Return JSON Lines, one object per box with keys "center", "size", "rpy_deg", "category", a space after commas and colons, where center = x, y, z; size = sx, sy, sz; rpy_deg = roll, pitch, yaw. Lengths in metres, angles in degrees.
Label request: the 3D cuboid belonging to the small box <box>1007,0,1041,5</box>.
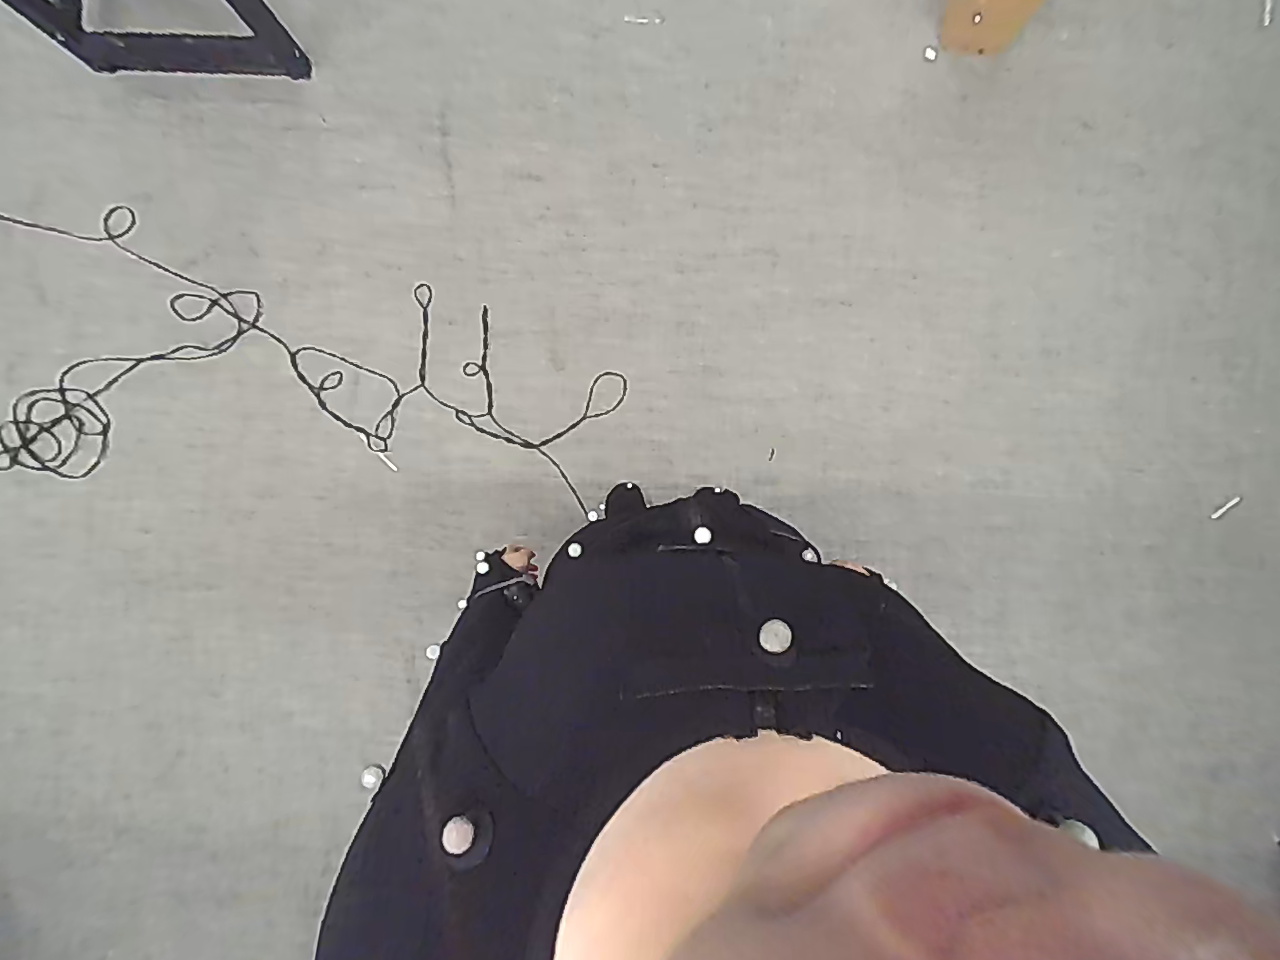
{"center": [0.930, -1.264, 1.260], "size": [0.179, 0.176, 0.168], "rpy_deg": [10, 91, 0], "category": "small box"}
